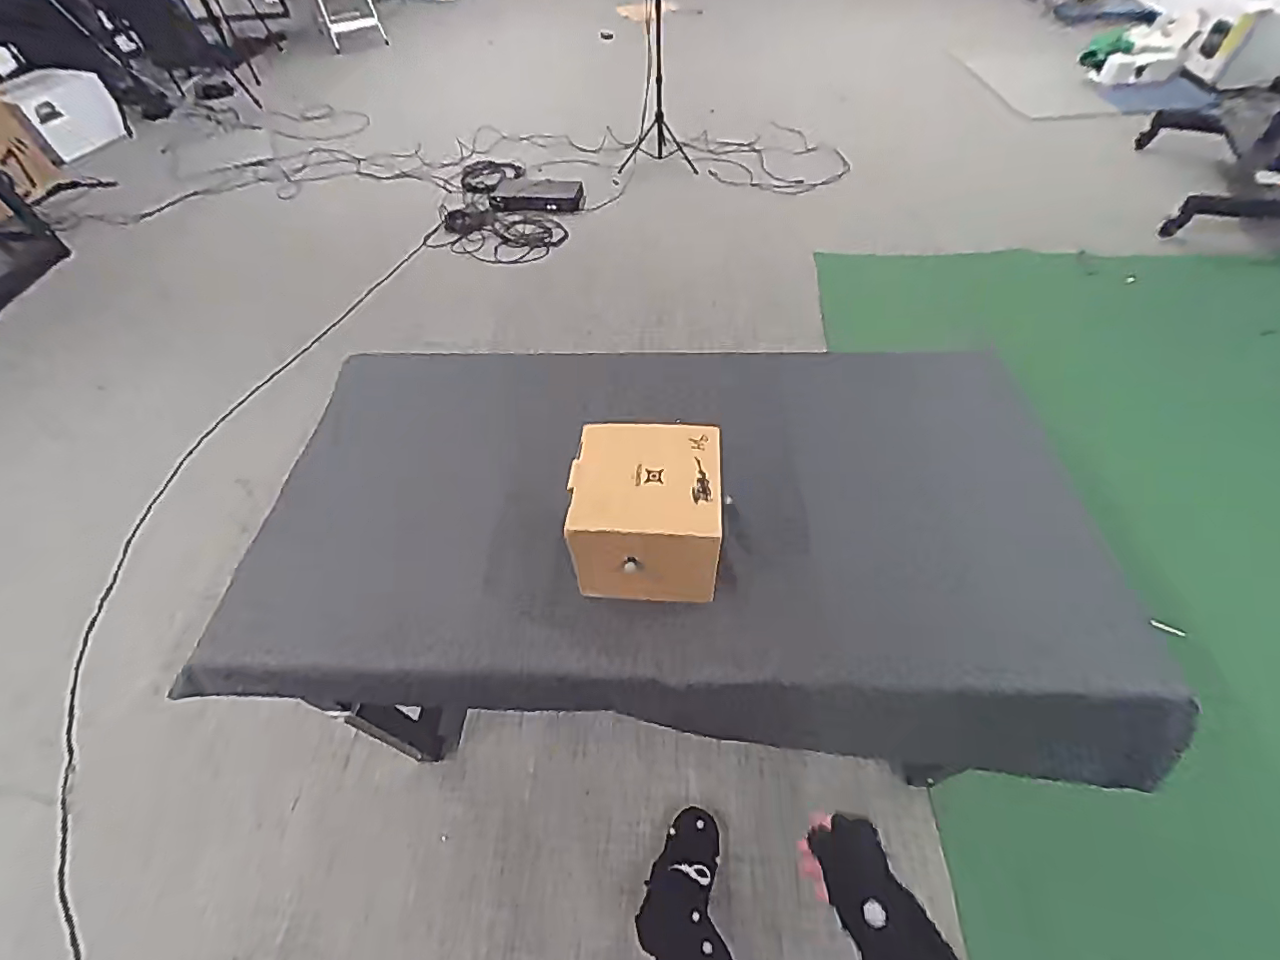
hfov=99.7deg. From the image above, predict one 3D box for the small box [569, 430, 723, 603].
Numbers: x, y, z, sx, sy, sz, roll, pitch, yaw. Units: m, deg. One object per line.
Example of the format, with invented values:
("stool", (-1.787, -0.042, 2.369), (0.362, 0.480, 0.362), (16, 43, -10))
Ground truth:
("small box", (0.013, 0.051, 0.713), (0.179, 0.176, 0.168), (0, 51, 2))
